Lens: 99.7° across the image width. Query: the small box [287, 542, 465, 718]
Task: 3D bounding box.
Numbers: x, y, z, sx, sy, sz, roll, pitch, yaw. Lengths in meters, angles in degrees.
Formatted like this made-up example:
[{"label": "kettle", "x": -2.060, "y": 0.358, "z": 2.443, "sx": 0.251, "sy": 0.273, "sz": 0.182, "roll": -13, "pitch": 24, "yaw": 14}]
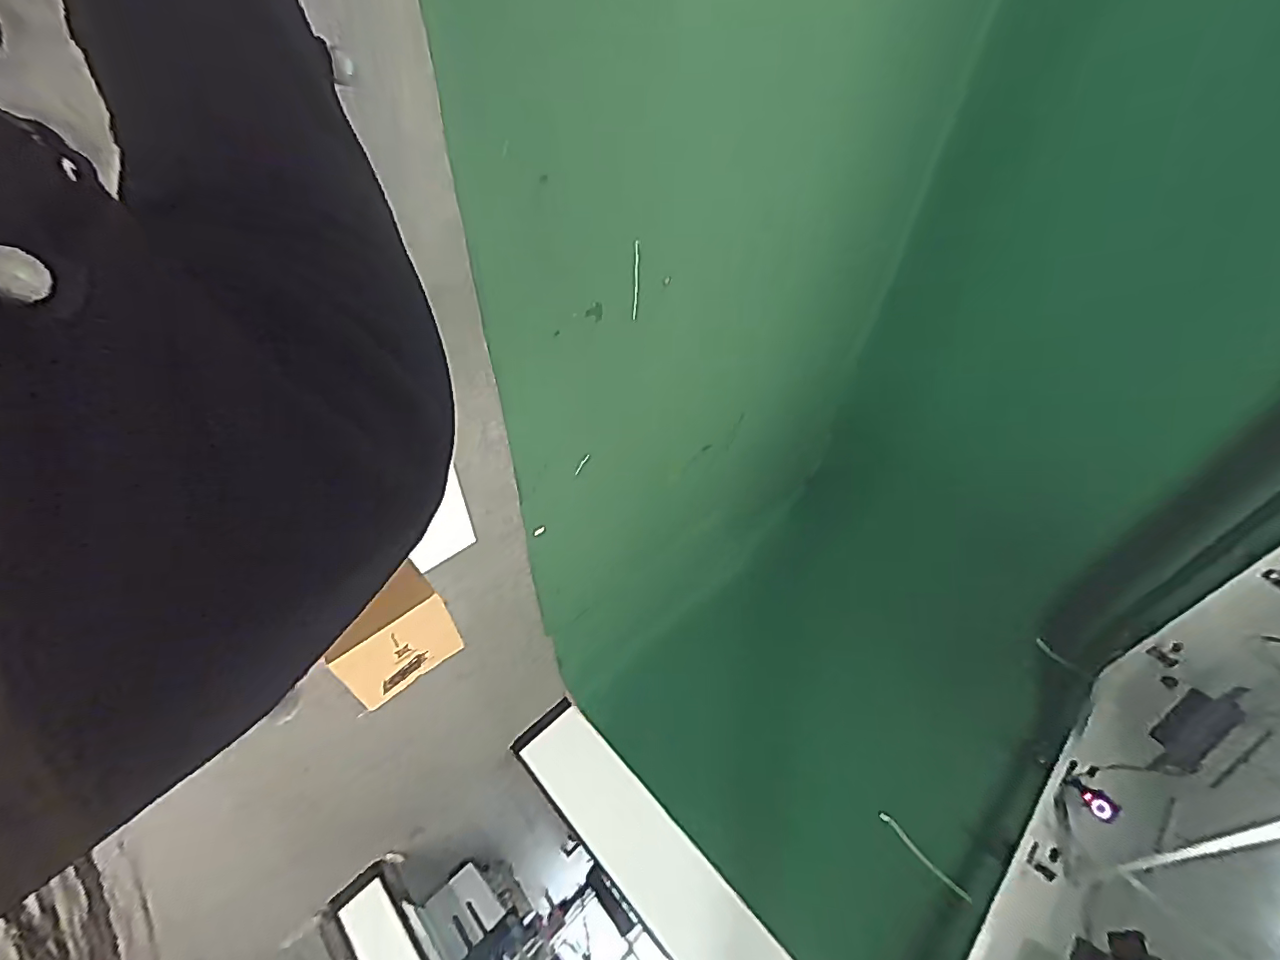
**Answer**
[{"label": "small box", "x": -0.407, "y": 0.231, "z": 0.849, "sx": 0.168, "sy": 0.176, "sz": 0.179, "roll": -36, "pitch": 149, "yaw": -25}]
